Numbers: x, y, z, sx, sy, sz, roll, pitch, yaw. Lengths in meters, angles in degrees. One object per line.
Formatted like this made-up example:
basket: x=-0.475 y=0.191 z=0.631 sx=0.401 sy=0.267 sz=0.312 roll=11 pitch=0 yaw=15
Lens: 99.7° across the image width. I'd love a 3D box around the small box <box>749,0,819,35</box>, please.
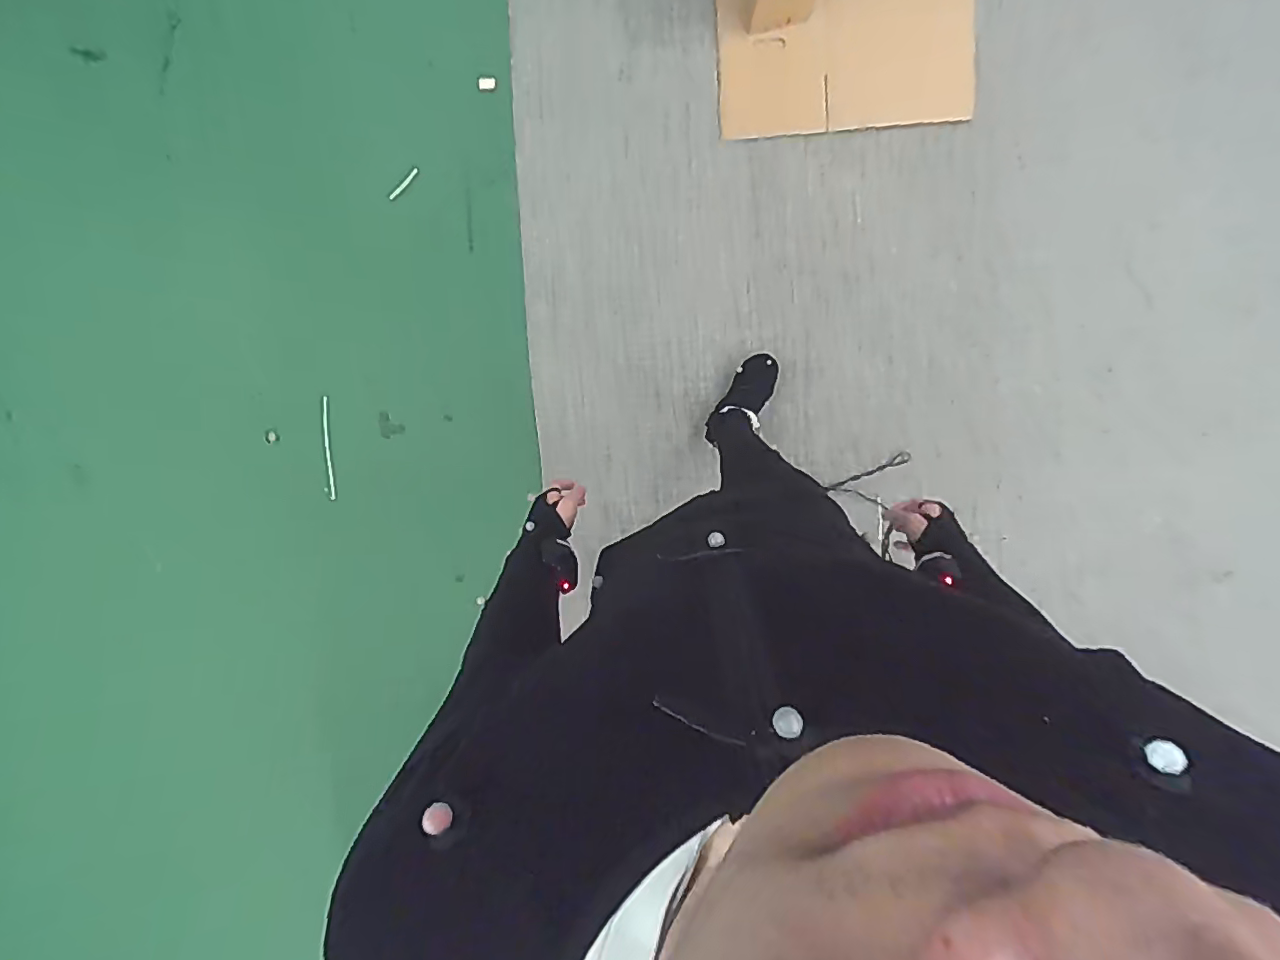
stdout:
small box: x=0.375 y=-1.321 z=1.404 sx=0.168 sy=0.176 sz=0.179 roll=-10 pitch=92 yaw=4
